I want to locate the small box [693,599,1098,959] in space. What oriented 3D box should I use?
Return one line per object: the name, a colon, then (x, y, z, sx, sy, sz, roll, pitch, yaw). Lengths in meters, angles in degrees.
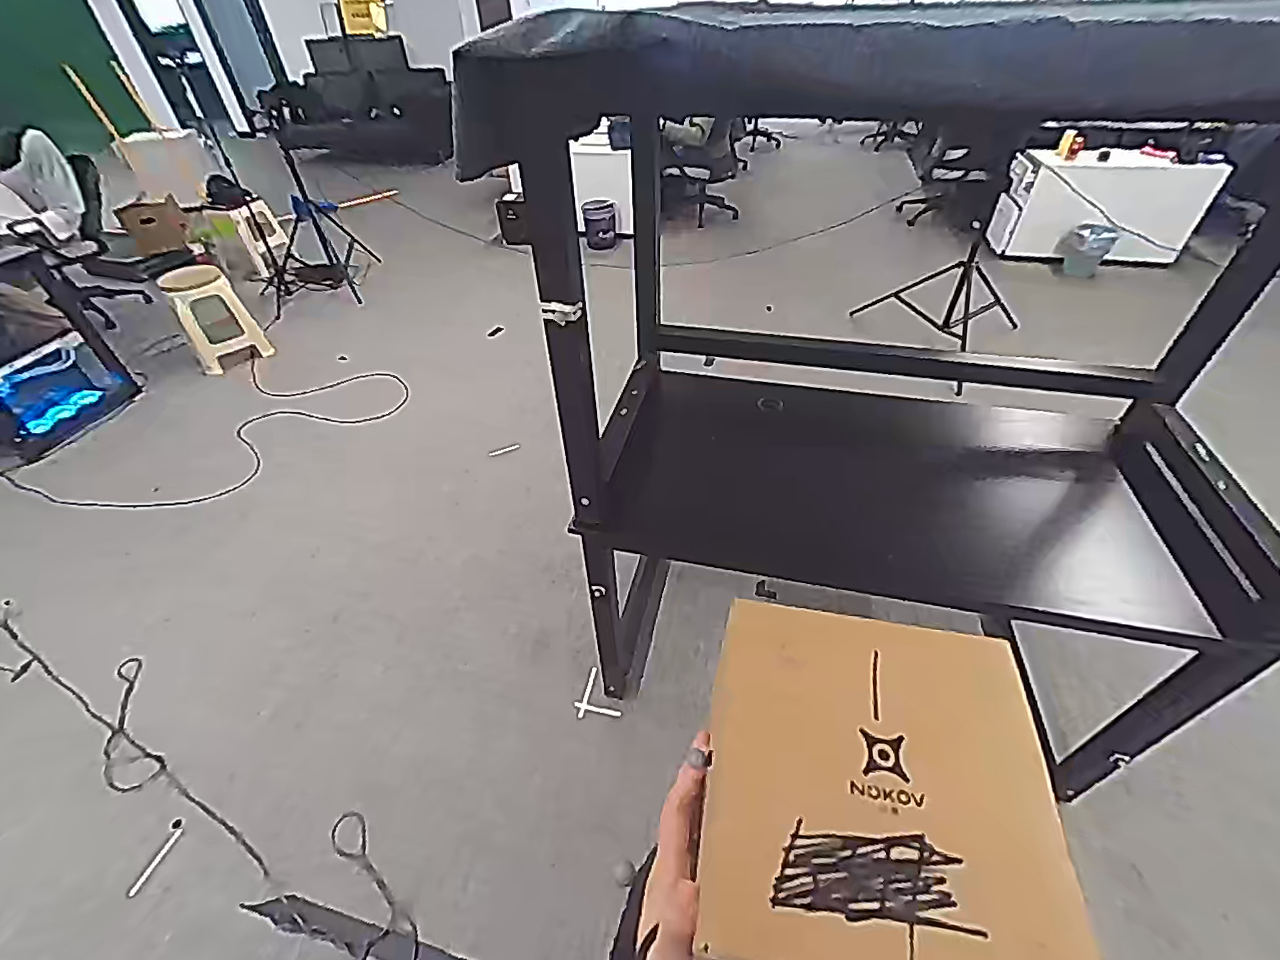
small box: (0.125, 0.202, 0.336, 0.168, 0.176, 0.179, 8, 48, 8)
